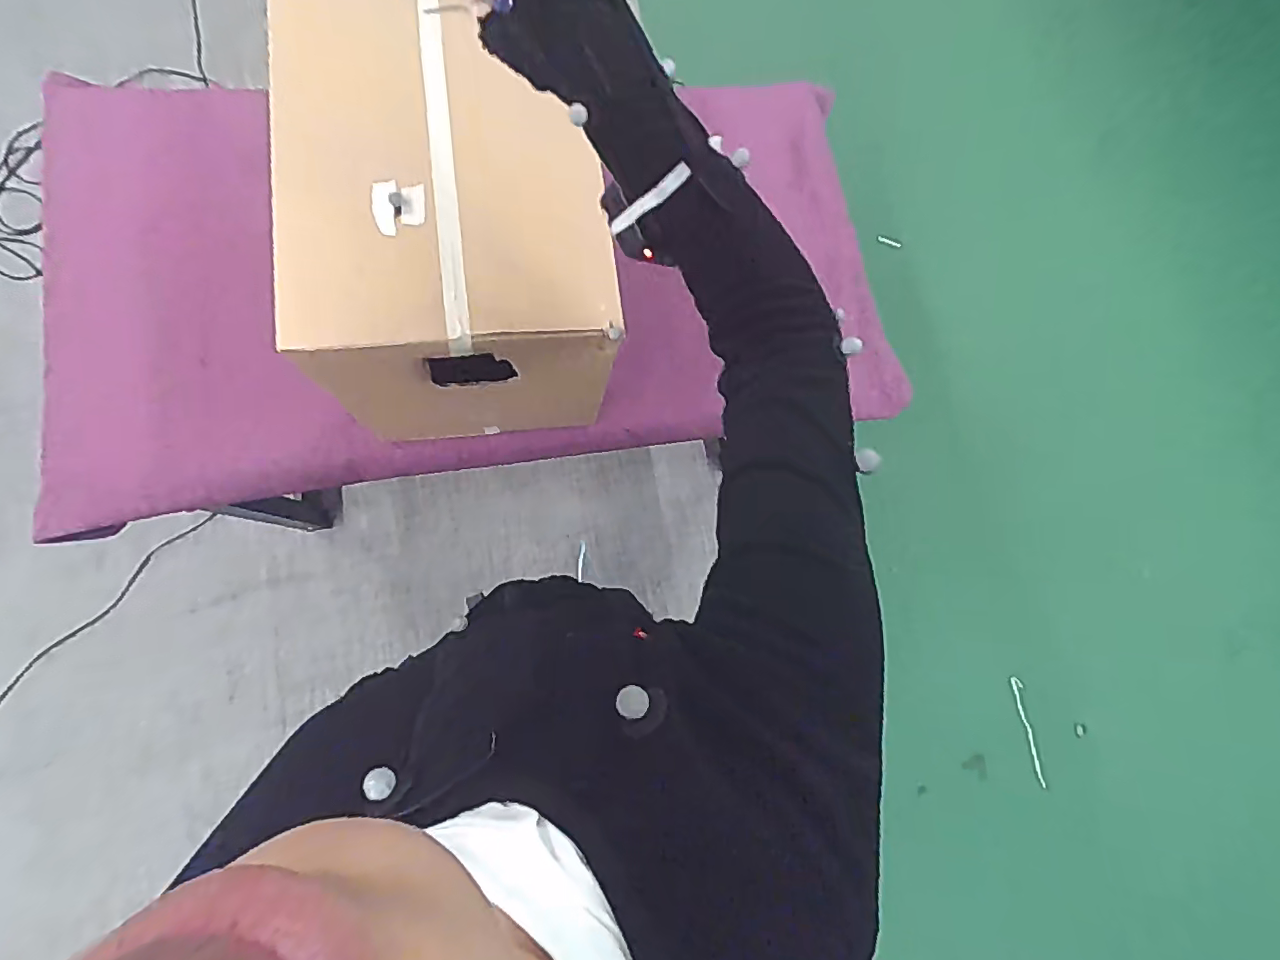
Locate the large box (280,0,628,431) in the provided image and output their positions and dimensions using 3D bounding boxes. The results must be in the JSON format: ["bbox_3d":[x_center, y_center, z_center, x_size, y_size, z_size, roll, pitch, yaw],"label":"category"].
[{"bbox_3d":[-0.216,-0.304,0.693,0.320,0.320,0.408,-6,81,-11],"label":"large box"}]
